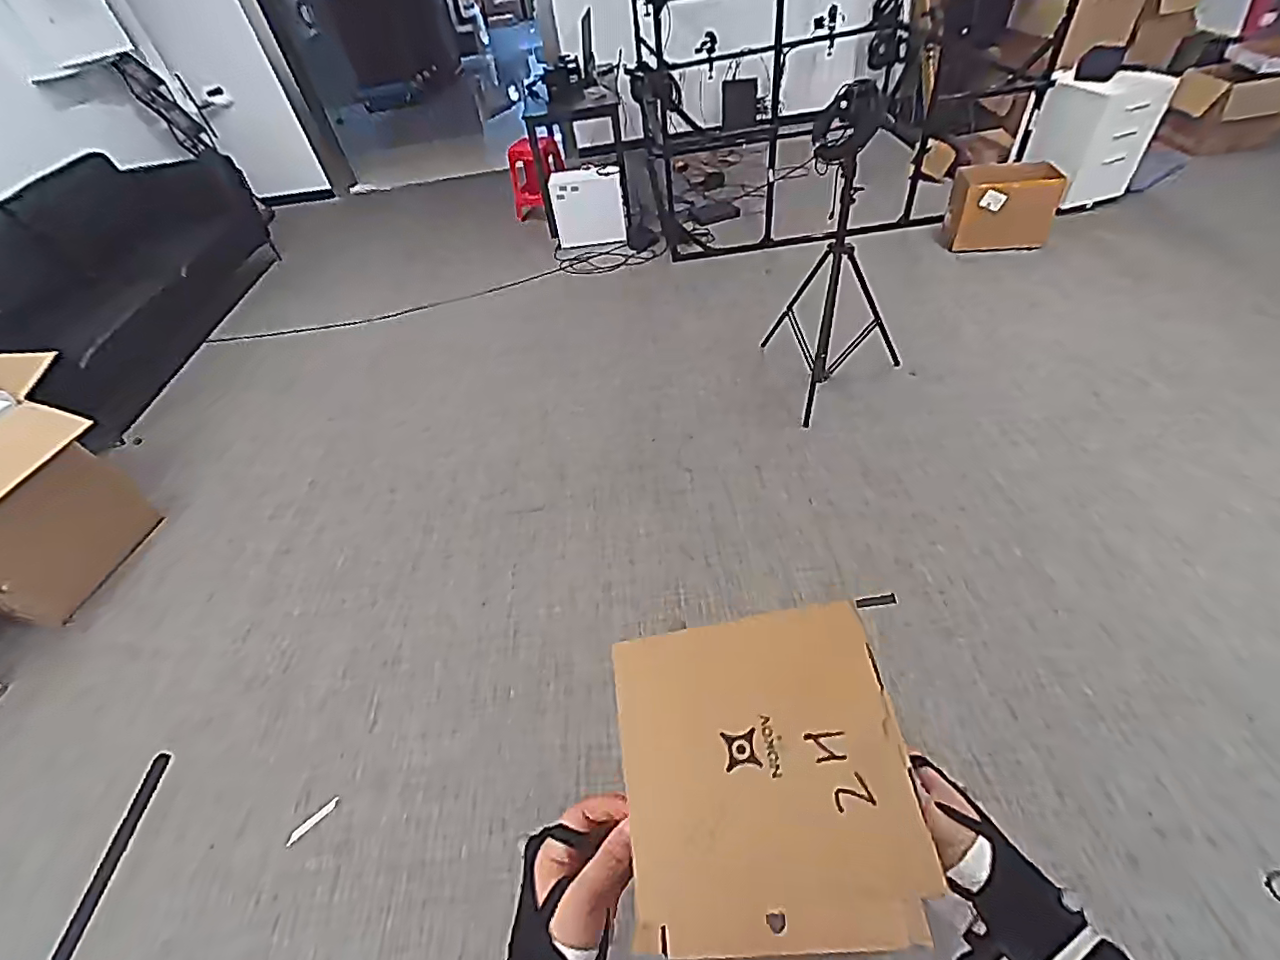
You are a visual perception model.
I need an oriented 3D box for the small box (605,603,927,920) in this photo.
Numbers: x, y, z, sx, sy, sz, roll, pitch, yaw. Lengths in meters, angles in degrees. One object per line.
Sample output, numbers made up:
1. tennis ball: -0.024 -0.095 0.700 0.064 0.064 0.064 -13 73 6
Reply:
1. small box: 0.086 0.211 0.416 0.179 0.176 0.168 -14 60 8
